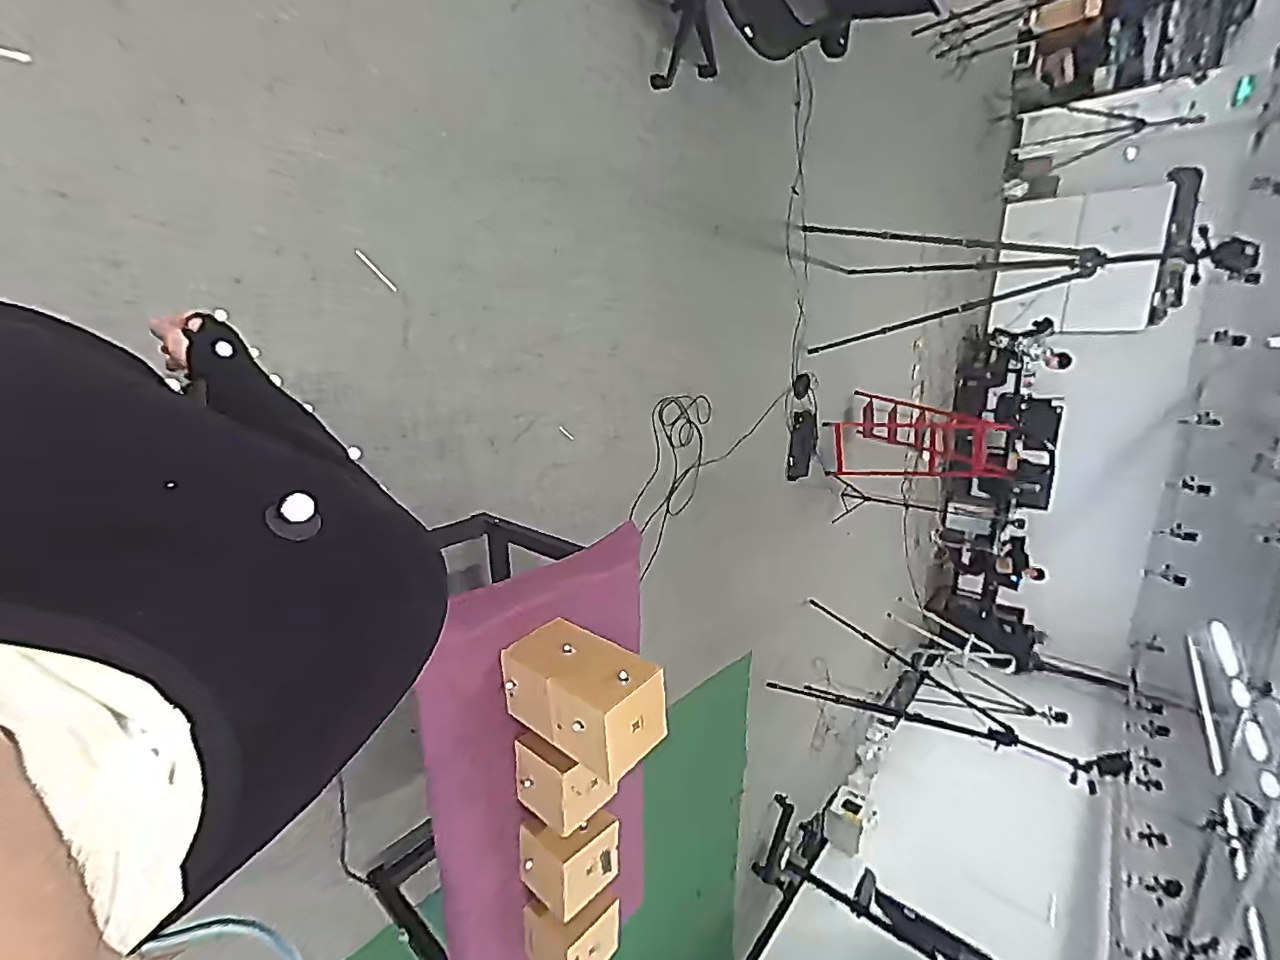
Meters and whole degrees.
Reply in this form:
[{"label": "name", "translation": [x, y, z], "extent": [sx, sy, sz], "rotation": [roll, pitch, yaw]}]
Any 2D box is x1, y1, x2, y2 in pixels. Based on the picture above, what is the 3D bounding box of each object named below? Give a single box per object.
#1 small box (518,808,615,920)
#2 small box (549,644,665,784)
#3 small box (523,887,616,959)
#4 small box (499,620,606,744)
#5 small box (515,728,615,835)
[{"label": "small box", "translation": [-0.181, 0.908, 1.335], "extent": [0.179, 0.176, 0.168], "rotation": [-11, 107, -47]}, {"label": "small box", "translation": [-0.071, 0.465, 1.105], "extent": [0.179, 0.176, 0.168], "rotation": [-21, 114, -46]}, {"label": "small box", "translation": [-0.181, 1.146, 1.393], "extent": [0.179, 0.176, 0.168], "rotation": [-13, 108, -48]}, {"label": "small box", "translation": [-0.190, 0.439, 1.211], "extent": [0.179, 0.176, 0.168], "rotation": [-21, 114, -45]}, {"label": "small box", "translation": [-0.176, 0.678, 1.284], "extent": [0.179, 0.176, 0.168], "rotation": [-14, 109, -47]}]
